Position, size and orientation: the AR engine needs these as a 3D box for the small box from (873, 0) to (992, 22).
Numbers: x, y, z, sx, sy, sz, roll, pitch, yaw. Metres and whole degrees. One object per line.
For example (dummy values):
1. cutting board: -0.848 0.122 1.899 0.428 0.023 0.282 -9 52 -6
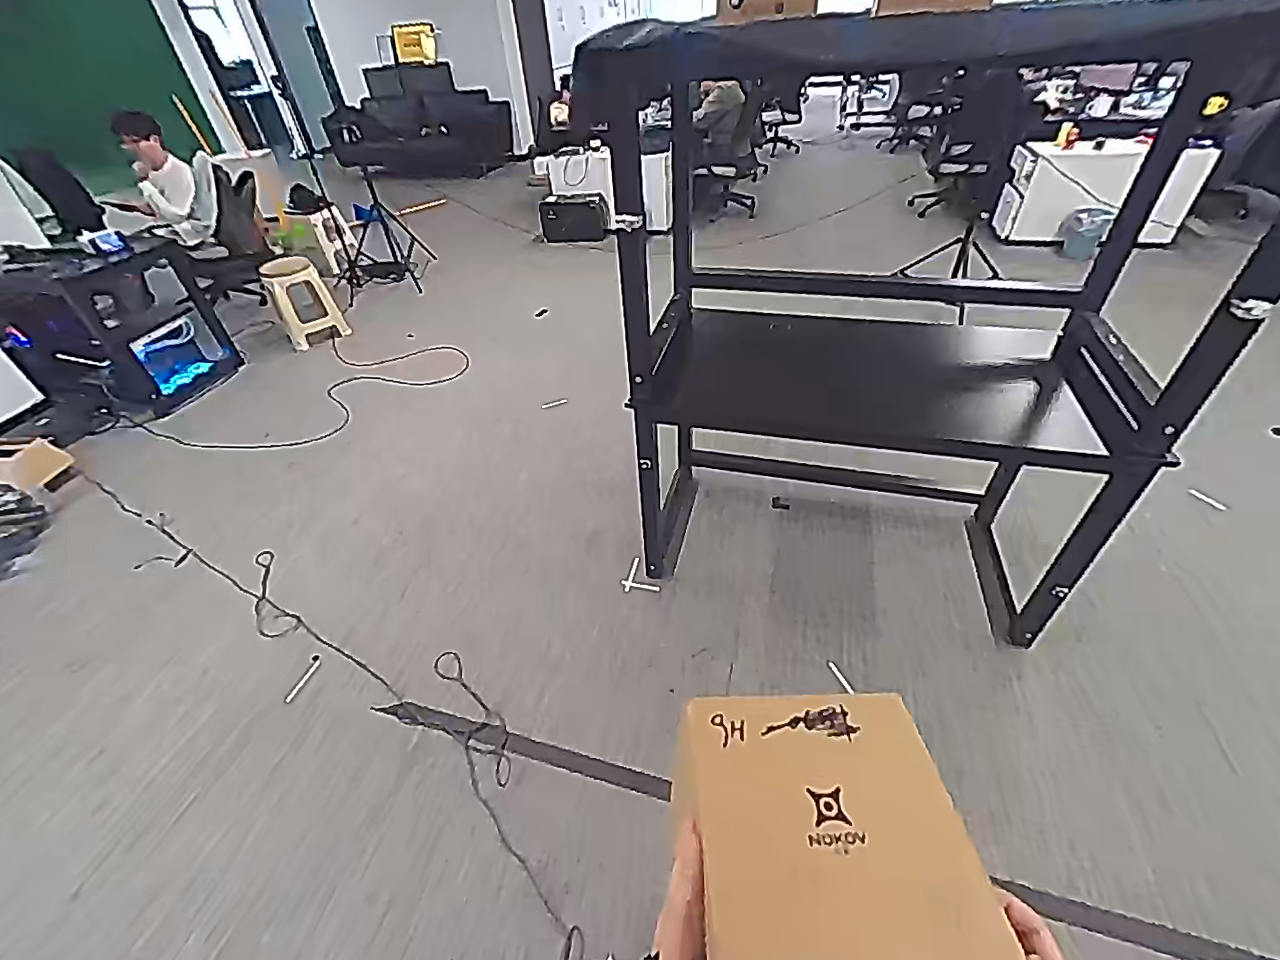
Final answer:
1. small box: 0.470 -0.830 0.845 0.168 0.176 0.179 8 41 14

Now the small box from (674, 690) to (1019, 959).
1. small box: 0.116 0.277 0.388 0.168 0.176 0.179 0 37 -3

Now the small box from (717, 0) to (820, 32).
1. small box: 0.222 -0.861 0.898 0.168 0.176 0.179 7 40 11
